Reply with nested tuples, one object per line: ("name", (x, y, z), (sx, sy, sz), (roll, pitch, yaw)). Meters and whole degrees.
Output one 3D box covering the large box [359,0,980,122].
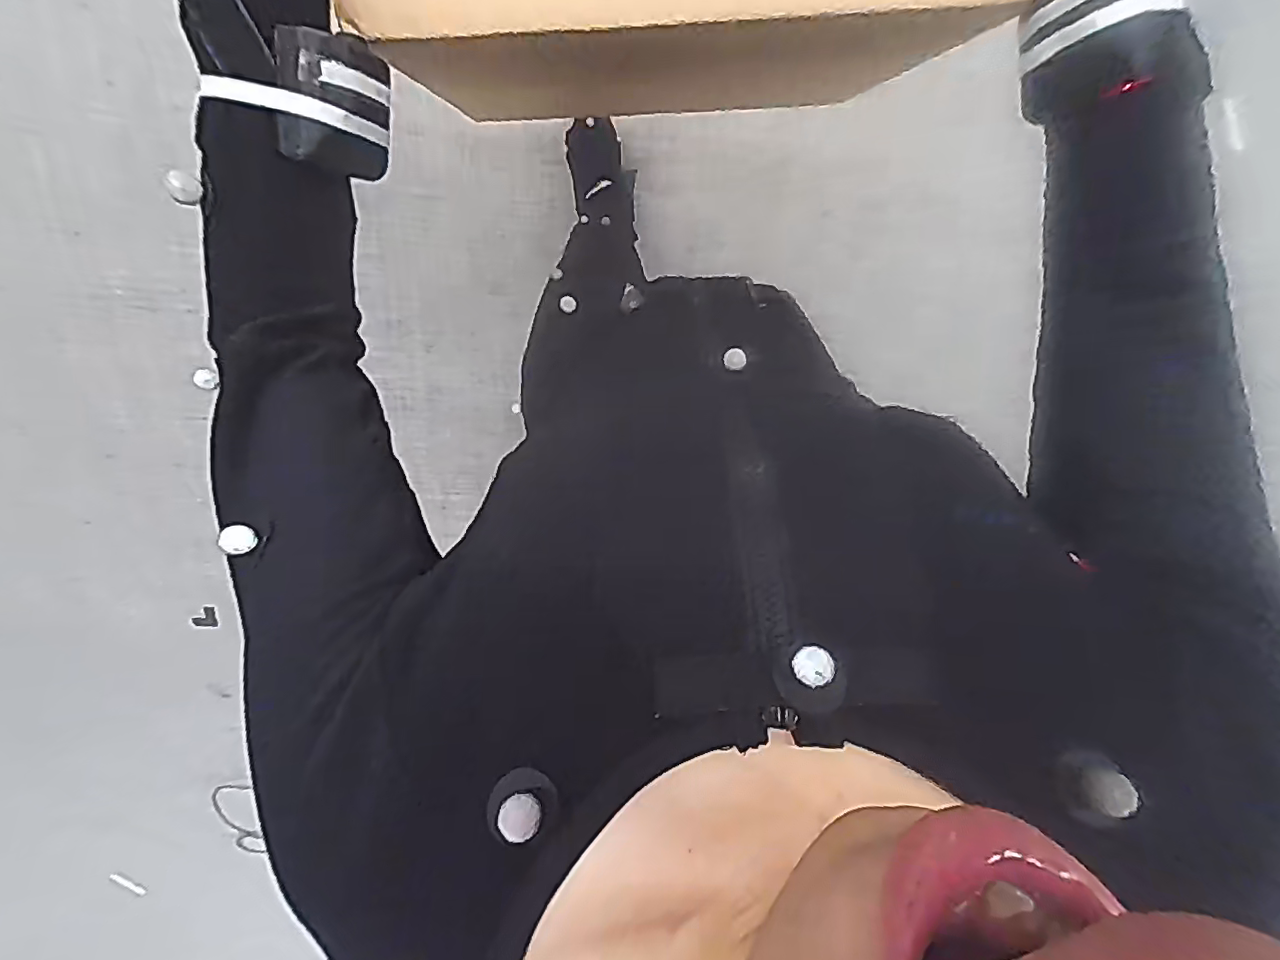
("large box", (0.016, -0.478, 0.388), (0.408, 0.320, 0.320), (-4, 116, -1))
